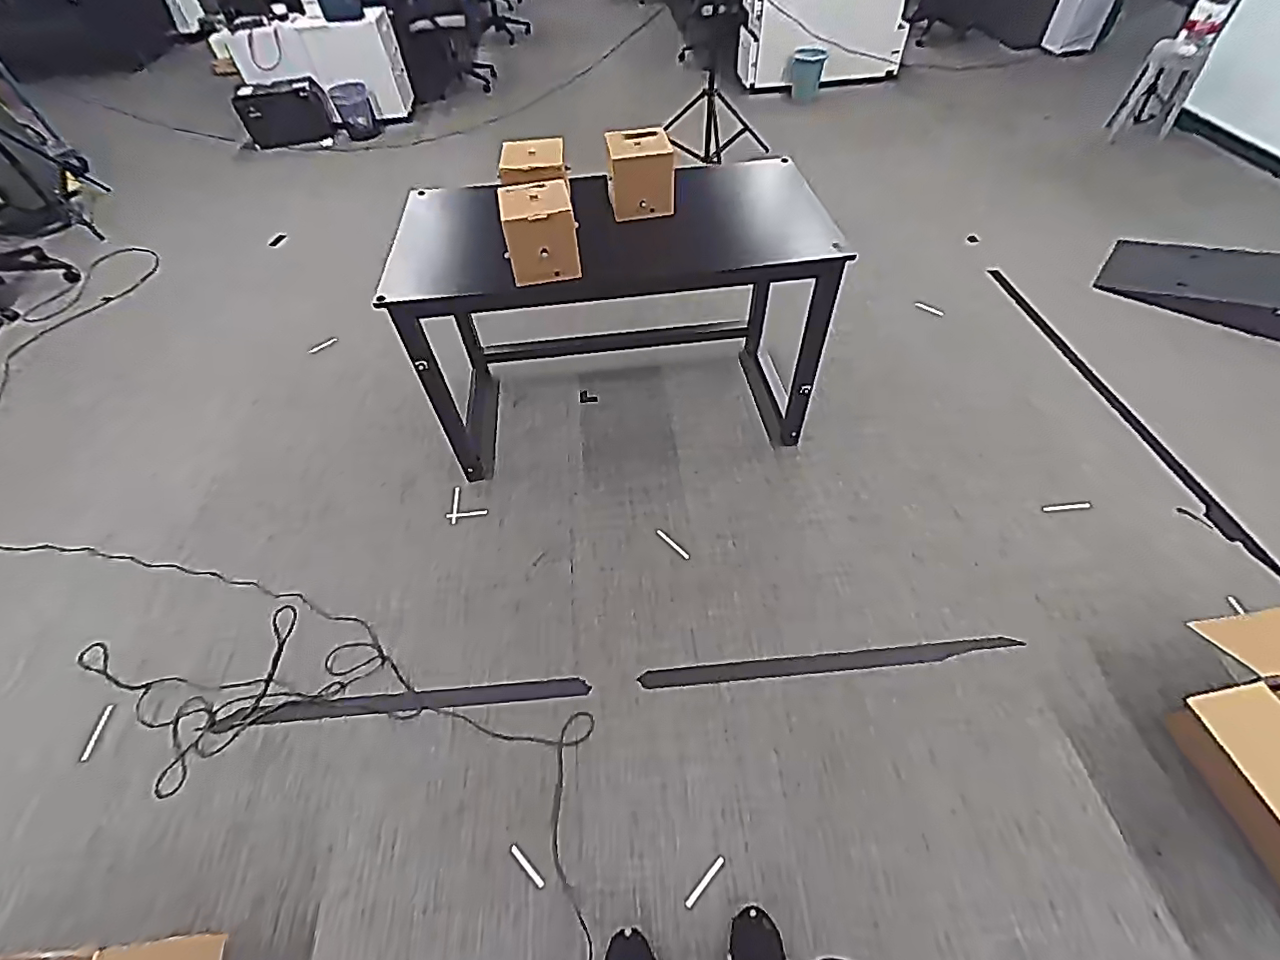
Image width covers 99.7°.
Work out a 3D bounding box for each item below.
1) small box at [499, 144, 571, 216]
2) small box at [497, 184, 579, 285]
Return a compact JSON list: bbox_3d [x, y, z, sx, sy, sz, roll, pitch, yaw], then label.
[{"bbox_3d":[-0.289,-0.811,1.513,0.168,0.176,0.179,-6,52,-1],"label":"small box"},{"bbox_3d":[-0.251,-0.603,1.344,0.168,0.176,0.179,-11,52,-6],"label":"small box"}]
